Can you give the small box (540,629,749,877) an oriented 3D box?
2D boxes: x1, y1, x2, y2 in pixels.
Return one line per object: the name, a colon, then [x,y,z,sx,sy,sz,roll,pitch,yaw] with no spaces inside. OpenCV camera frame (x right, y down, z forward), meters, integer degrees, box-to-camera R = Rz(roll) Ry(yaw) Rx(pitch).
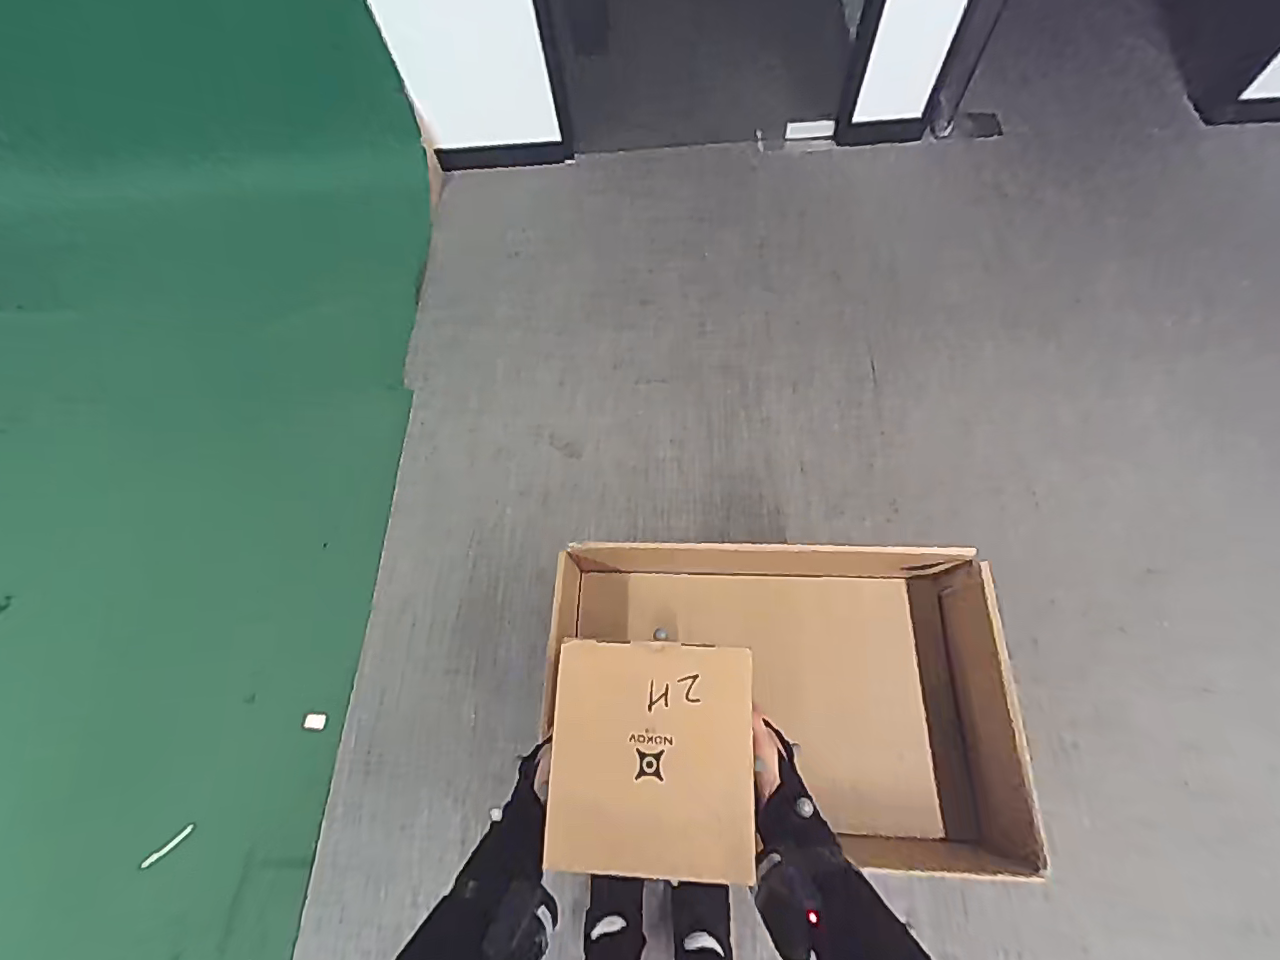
small box: [0.013,0.240,0.515,0.168,0.176,0.179,1,71,5]
